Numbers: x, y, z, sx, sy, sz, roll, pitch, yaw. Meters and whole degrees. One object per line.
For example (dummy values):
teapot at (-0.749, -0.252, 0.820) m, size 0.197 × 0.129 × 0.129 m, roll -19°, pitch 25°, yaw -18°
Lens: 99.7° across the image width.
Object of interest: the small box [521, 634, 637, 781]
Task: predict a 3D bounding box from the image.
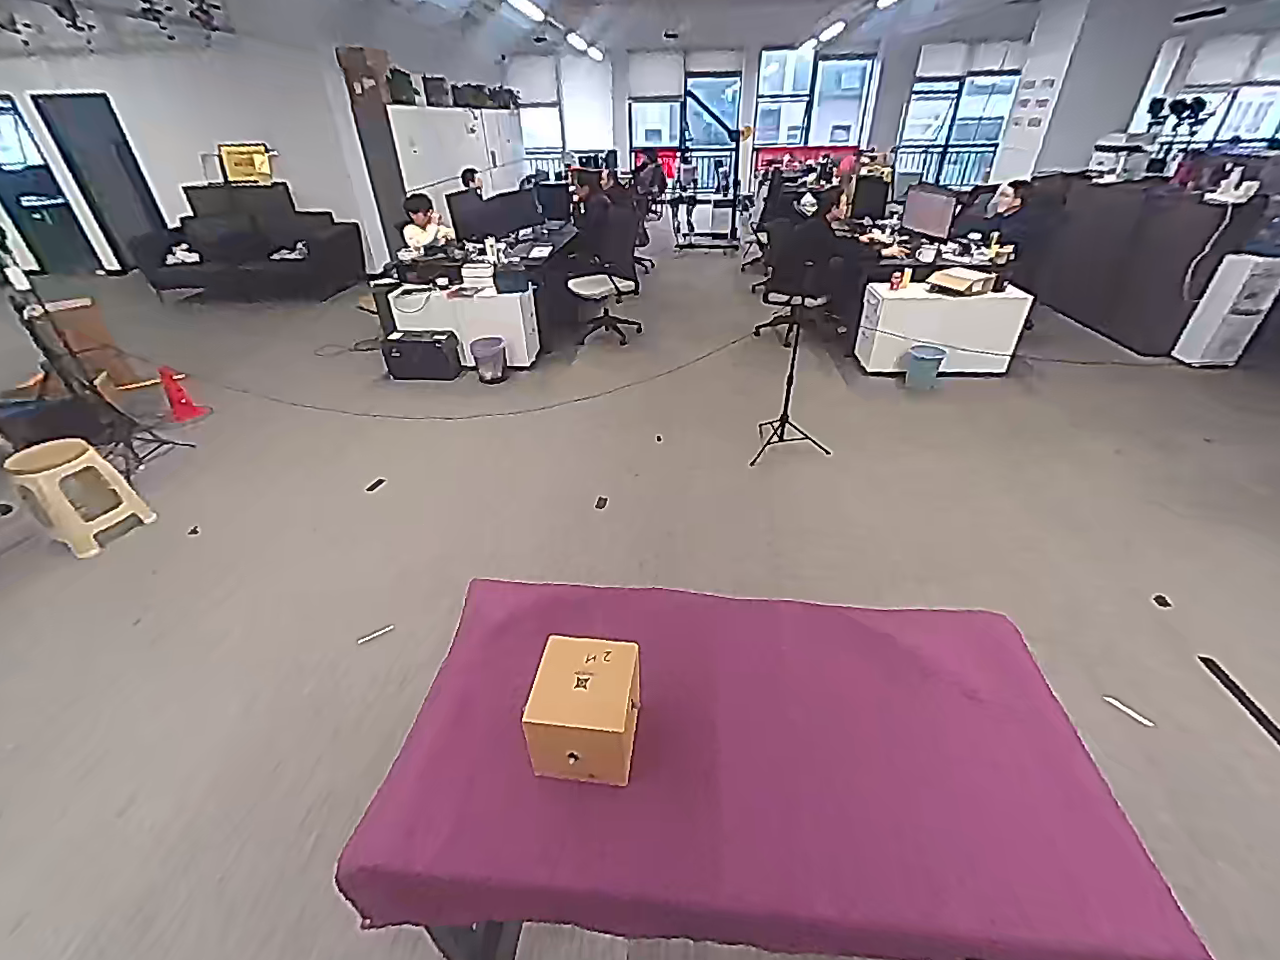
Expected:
small box at (-0.097, 0.404, 0.961) m, size 0.168 × 0.176 × 0.179 m, roll 4°, pitch 34°, yaw 7°
